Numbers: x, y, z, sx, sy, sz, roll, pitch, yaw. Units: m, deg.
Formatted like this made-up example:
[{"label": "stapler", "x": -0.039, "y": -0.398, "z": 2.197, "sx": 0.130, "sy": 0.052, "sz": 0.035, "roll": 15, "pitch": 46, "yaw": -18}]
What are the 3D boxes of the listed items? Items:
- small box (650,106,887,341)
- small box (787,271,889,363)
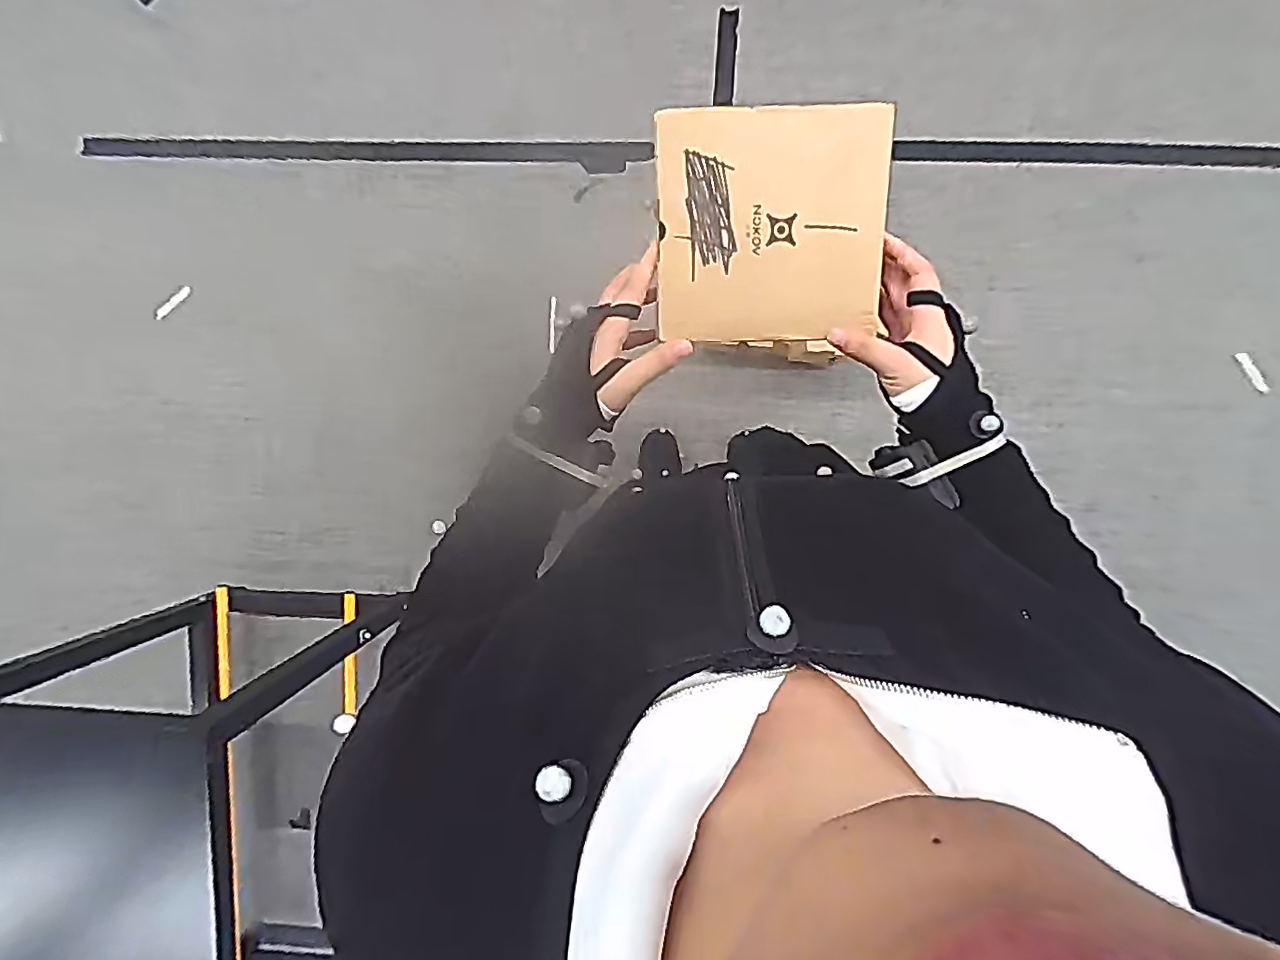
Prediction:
[{"label": "small box", "x": 0.100, "y": -0.215, "z": 0.497, "sx": 0.179, "sy": 0.176, "sz": 0.168, "roll": 0, "pitch": 104, "yaw": 2}, {"label": "small box", "x": 0.429, "y": -0.358, "z": 1.203, "sx": 0.168, "sy": 0.176, "sz": 0.179, "roll": 4, "pitch": 97, "yaw": 3}]
